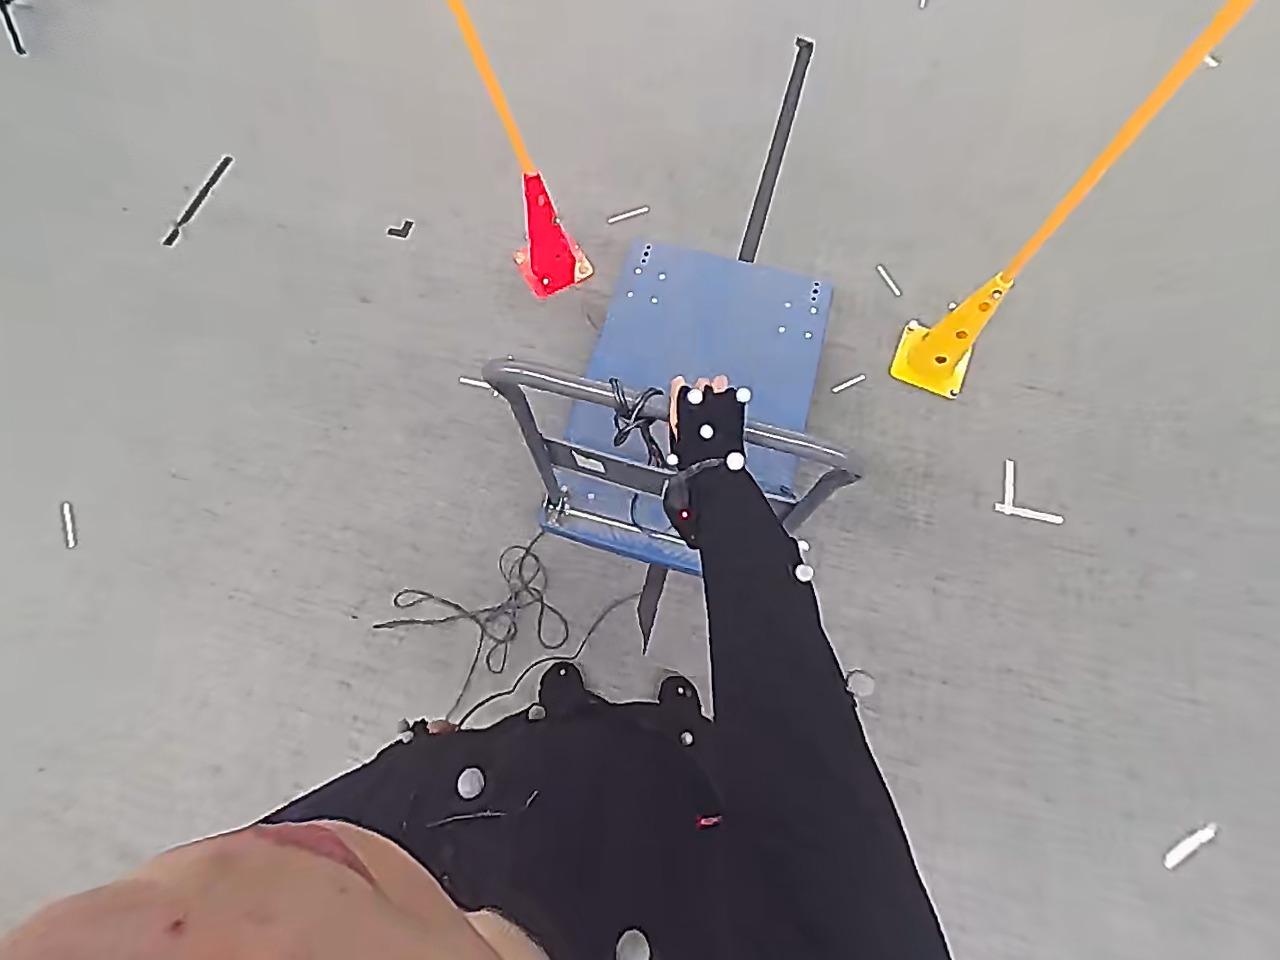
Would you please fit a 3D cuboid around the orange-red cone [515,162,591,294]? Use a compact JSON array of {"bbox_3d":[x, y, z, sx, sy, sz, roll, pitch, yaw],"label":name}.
[{"bbox_3d":[-0.275,-0.747,1.551,0.199,0.360,0.198,-28,75,-9],"label":"orange-red cone"}]
